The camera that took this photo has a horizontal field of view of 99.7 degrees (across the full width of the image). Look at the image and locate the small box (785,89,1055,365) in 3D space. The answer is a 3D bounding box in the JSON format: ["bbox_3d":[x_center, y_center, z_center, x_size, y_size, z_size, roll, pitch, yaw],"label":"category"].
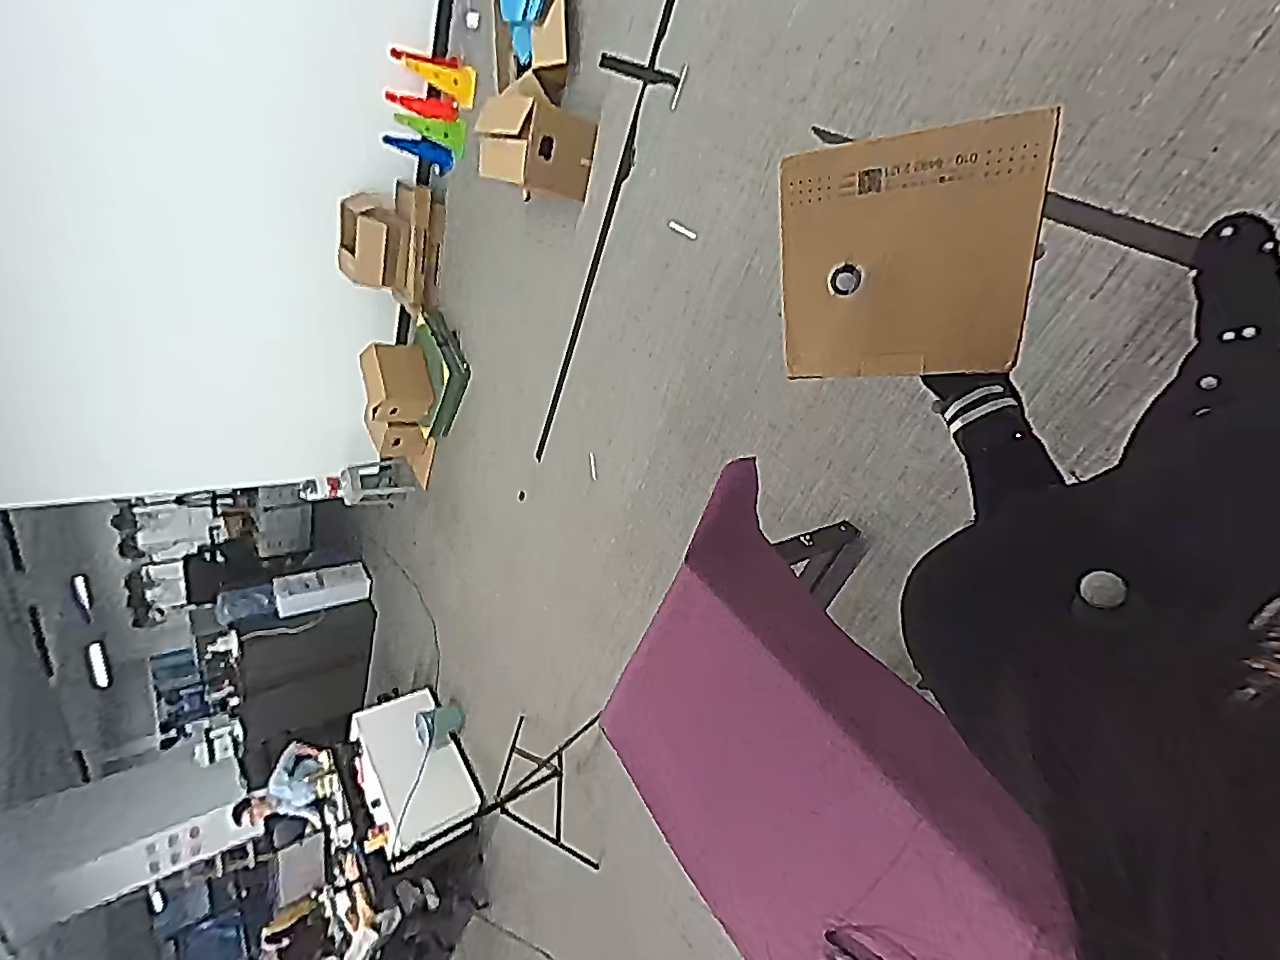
[{"bbox_3d":[0.217,-0.206,0.449,0.168,0.179,0.176,4,121,23],"label":"small box"}]
